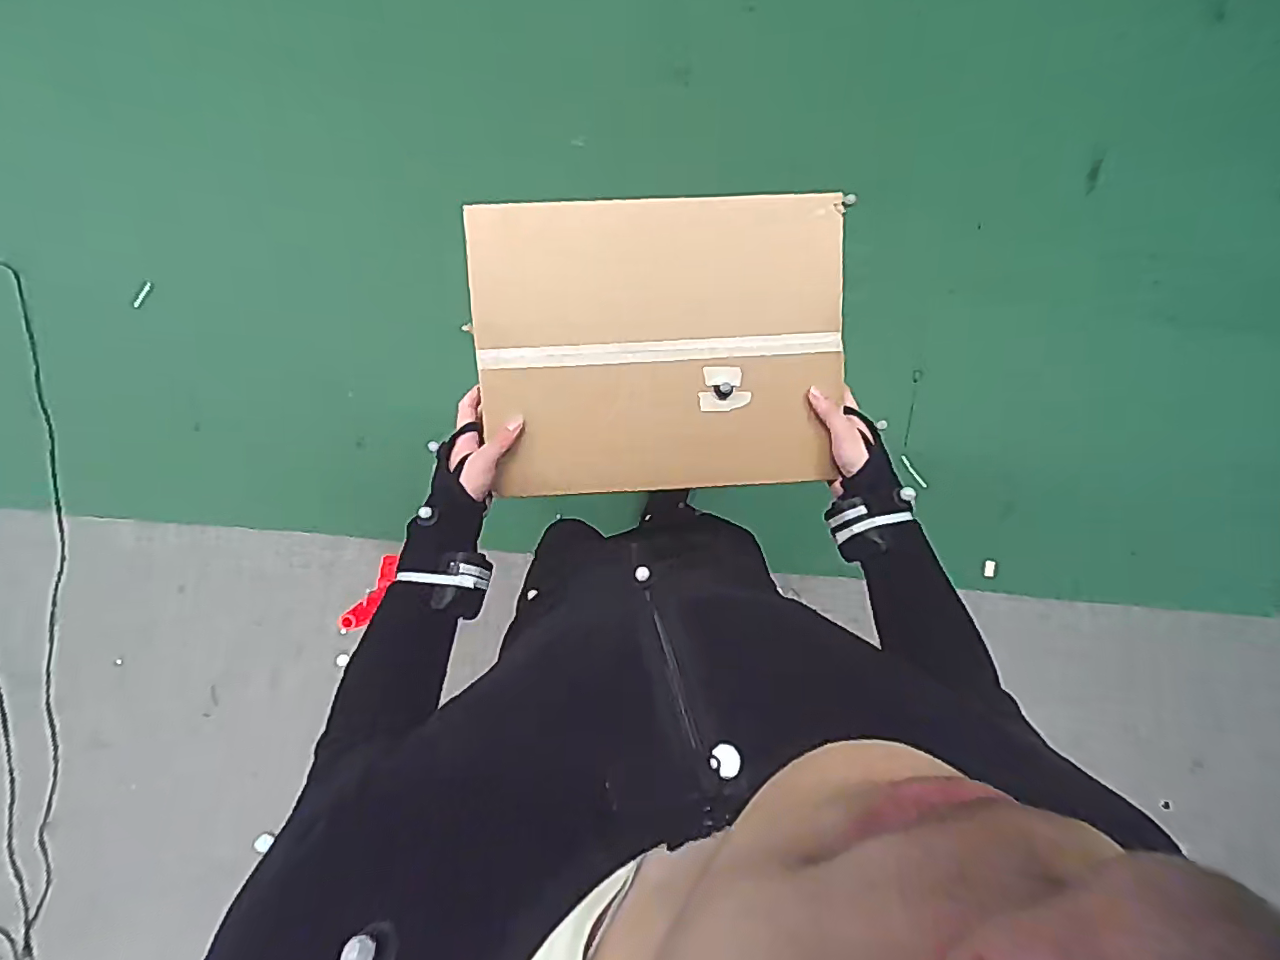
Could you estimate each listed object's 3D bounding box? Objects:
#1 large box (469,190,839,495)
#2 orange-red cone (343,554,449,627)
[{"bbox_3d":[0.016,-0.172,0.751,0.408,0.320,0.320,-4,100,-3],"label":"large box"},{"bbox_3d":[-0.694,0.335,1.468,0.199,0.360,0.198,12,90,1],"label":"orange-red cone"}]
